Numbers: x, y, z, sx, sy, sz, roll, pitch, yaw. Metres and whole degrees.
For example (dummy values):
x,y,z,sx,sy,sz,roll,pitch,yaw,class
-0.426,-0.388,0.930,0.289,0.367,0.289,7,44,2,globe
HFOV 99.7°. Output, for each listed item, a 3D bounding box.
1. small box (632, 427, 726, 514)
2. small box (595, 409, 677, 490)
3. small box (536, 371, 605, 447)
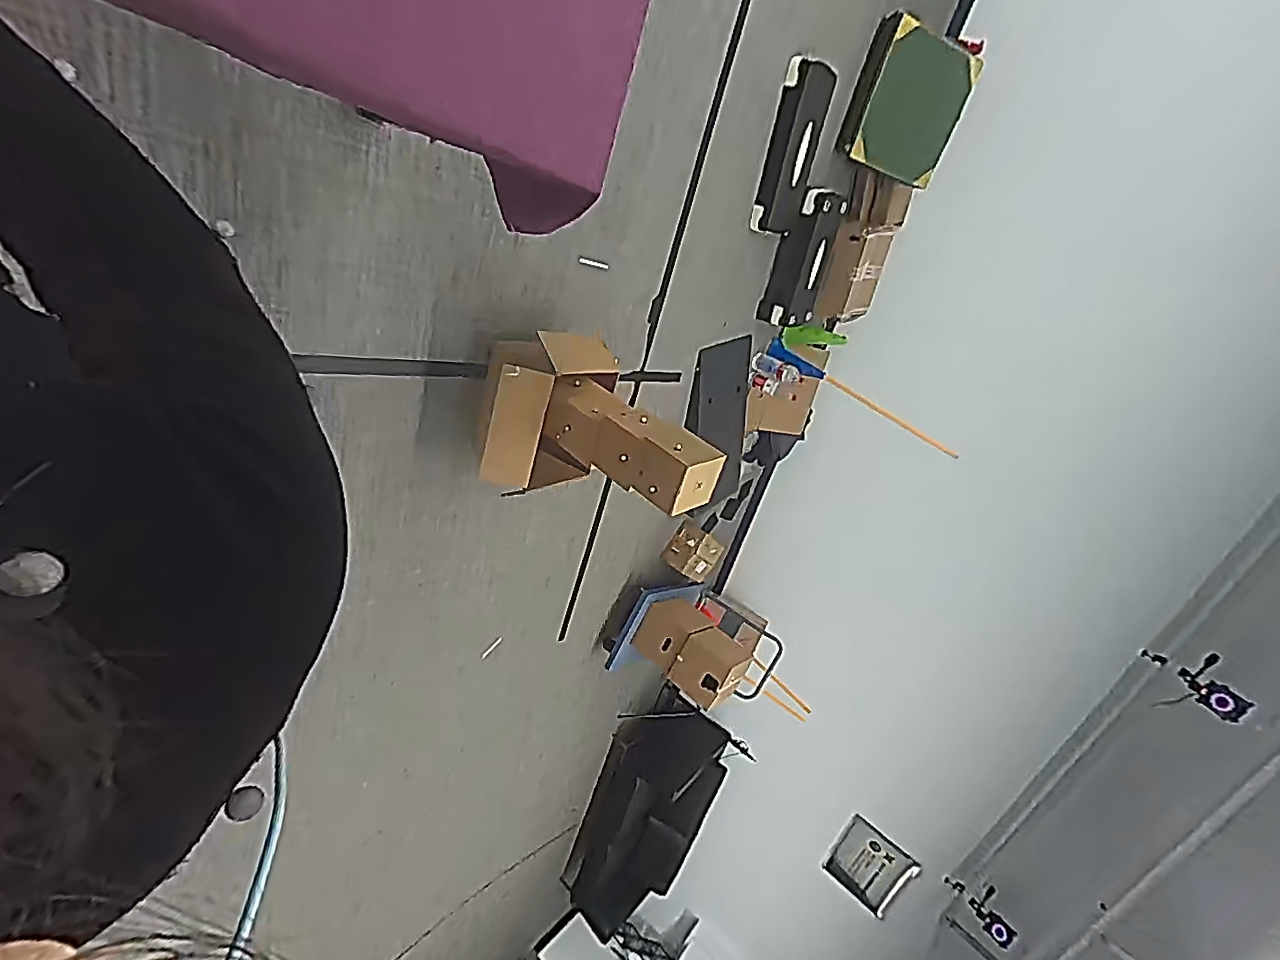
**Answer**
x,y,z,sx,sy,sz,roll,pitch,yaw,class
0.104,-0.032,1.514,0.179,0.176,0.168,-17,134,-45,small box
-0.013,-0.100,1.607,0.168,0.176,0.179,-17,134,-43,small box
-0.233,-0.246,1.805,0.168,0.176,0.179,-30,143,-34,small box
